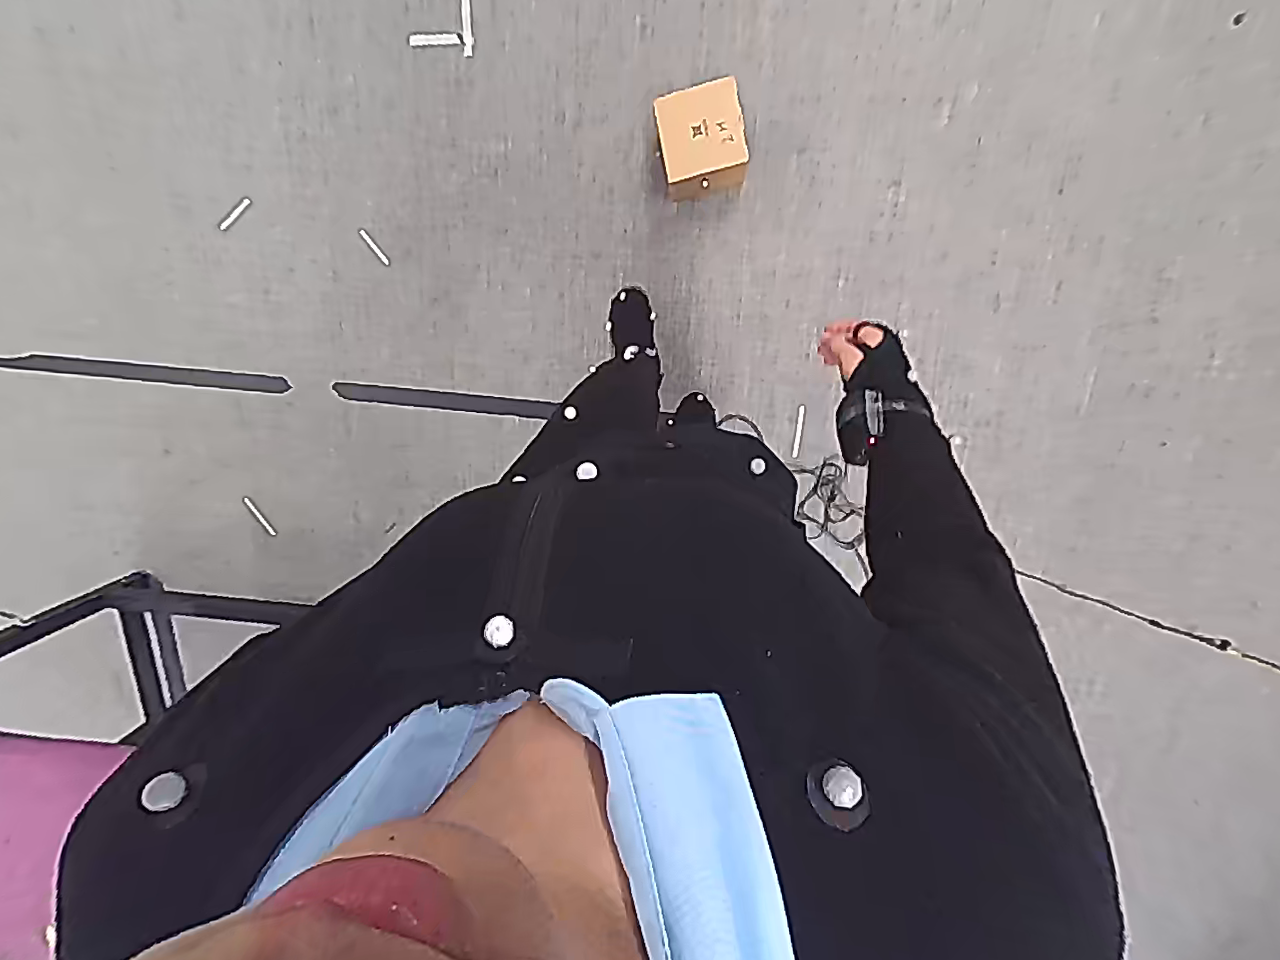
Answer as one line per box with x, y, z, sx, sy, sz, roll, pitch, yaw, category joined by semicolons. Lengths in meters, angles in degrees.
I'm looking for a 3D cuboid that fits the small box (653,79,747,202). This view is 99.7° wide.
0.135;-0.742;1.205;0.179;0.176;0.168;-11;103;9;small box
